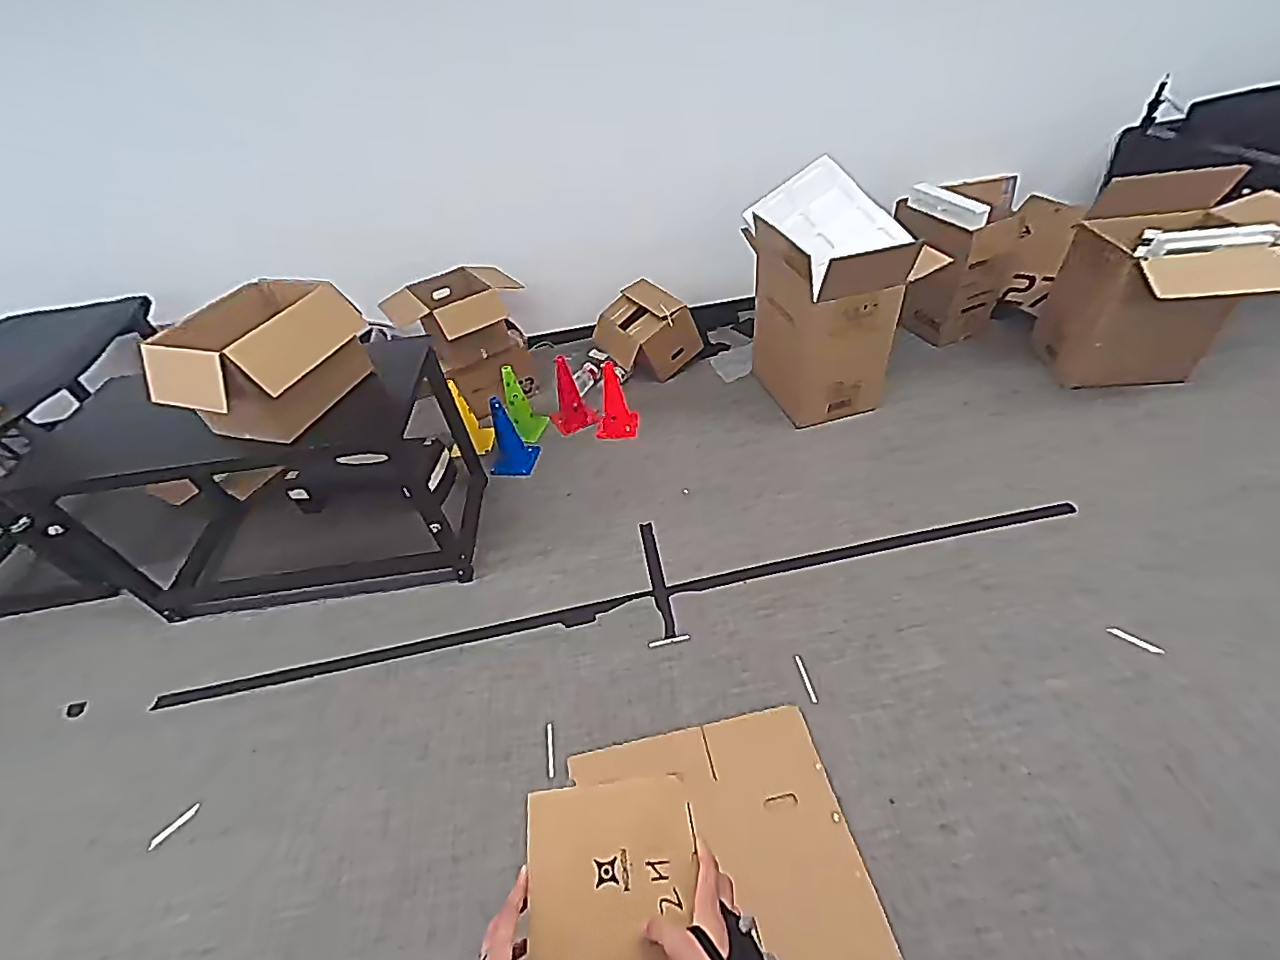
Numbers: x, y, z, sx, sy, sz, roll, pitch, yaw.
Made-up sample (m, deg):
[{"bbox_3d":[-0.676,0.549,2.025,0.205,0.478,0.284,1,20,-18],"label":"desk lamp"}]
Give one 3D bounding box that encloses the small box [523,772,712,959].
[{"bbox_3d":[-0.031,0.445,0.598,0.179,0.176,0.168,-3,47,-8],"label":"small box"}]
